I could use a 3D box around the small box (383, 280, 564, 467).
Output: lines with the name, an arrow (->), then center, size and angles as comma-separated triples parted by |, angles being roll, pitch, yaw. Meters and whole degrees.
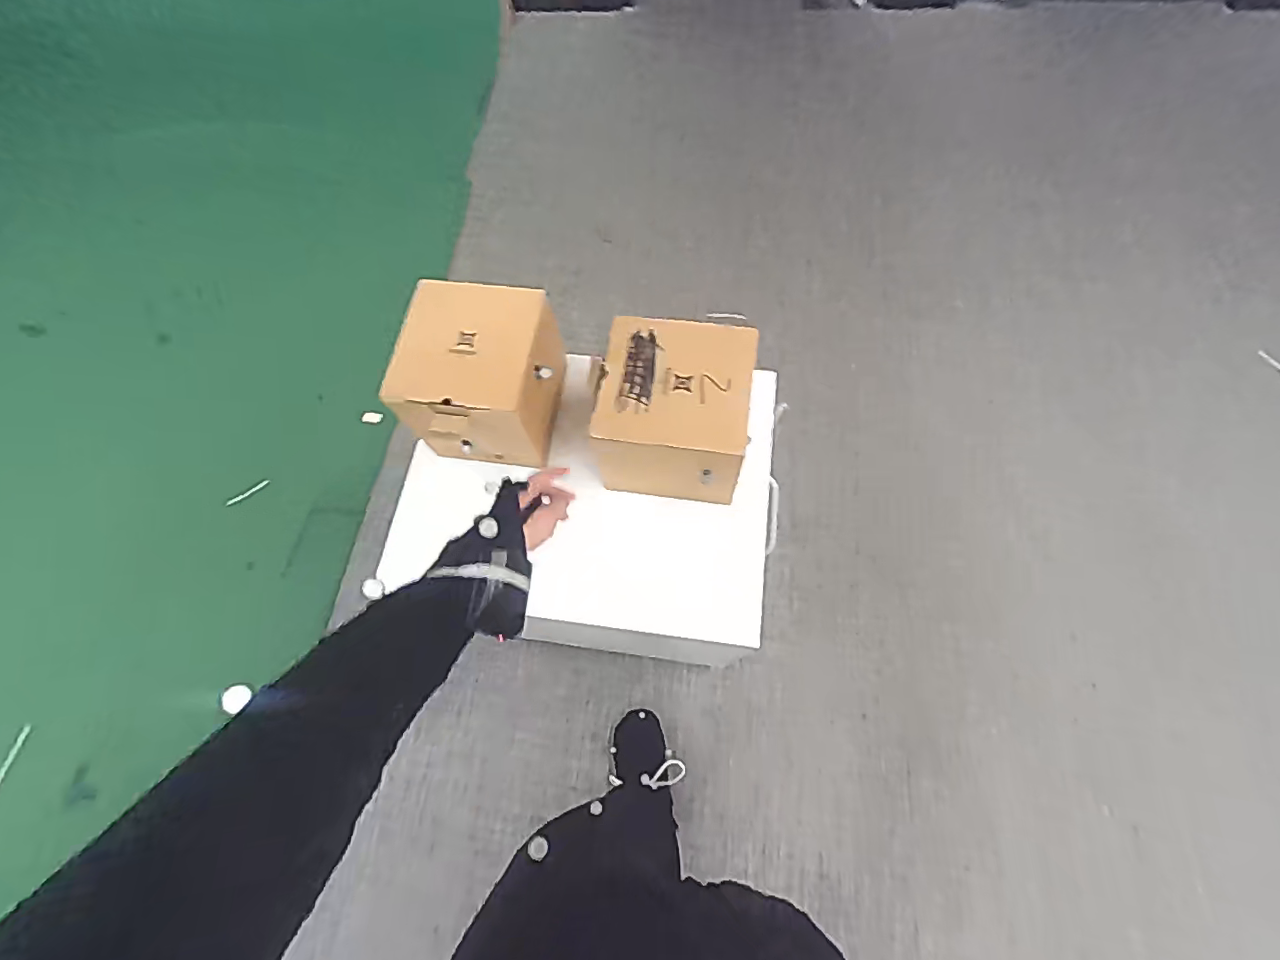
small box -> -0.205, -0.135, 0.723 | 0.168, 0.176, 0.179 | 7, 70, 5
